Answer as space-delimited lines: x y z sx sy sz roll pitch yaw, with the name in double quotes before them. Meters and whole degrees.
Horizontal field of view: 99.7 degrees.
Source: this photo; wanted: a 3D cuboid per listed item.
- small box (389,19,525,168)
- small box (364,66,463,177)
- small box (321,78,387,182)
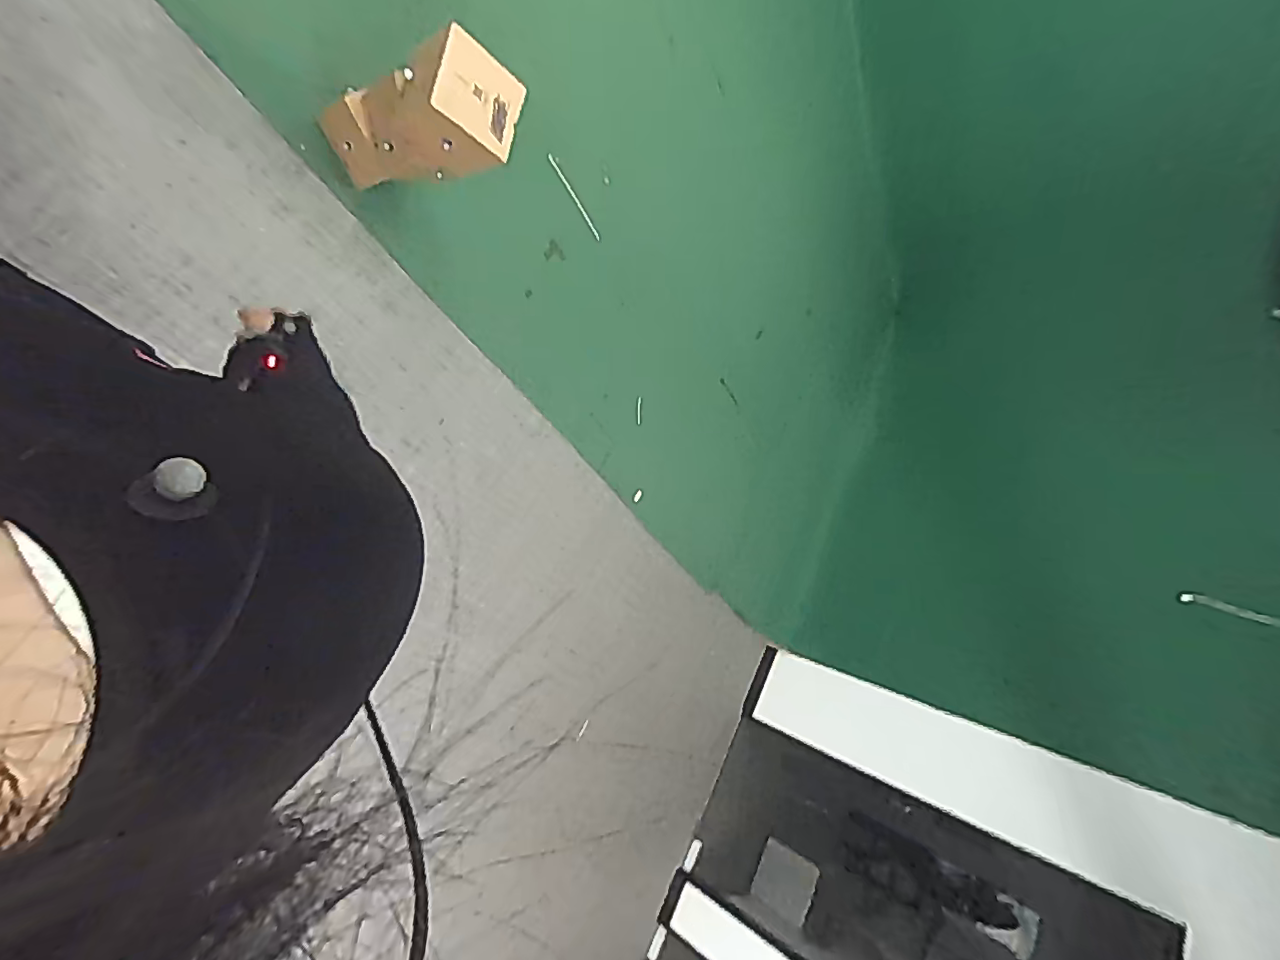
"small box" -0.371 -0.764 1.097 0.179 0.176 0.168 18 87 -50
"small box" -0.491 -0.787 1.207 0.179 0.176 0.168 -26 121 -44
"small box" -0.625 -0.836 1.290 0.179 0.176 0.168 -47 132 -32
